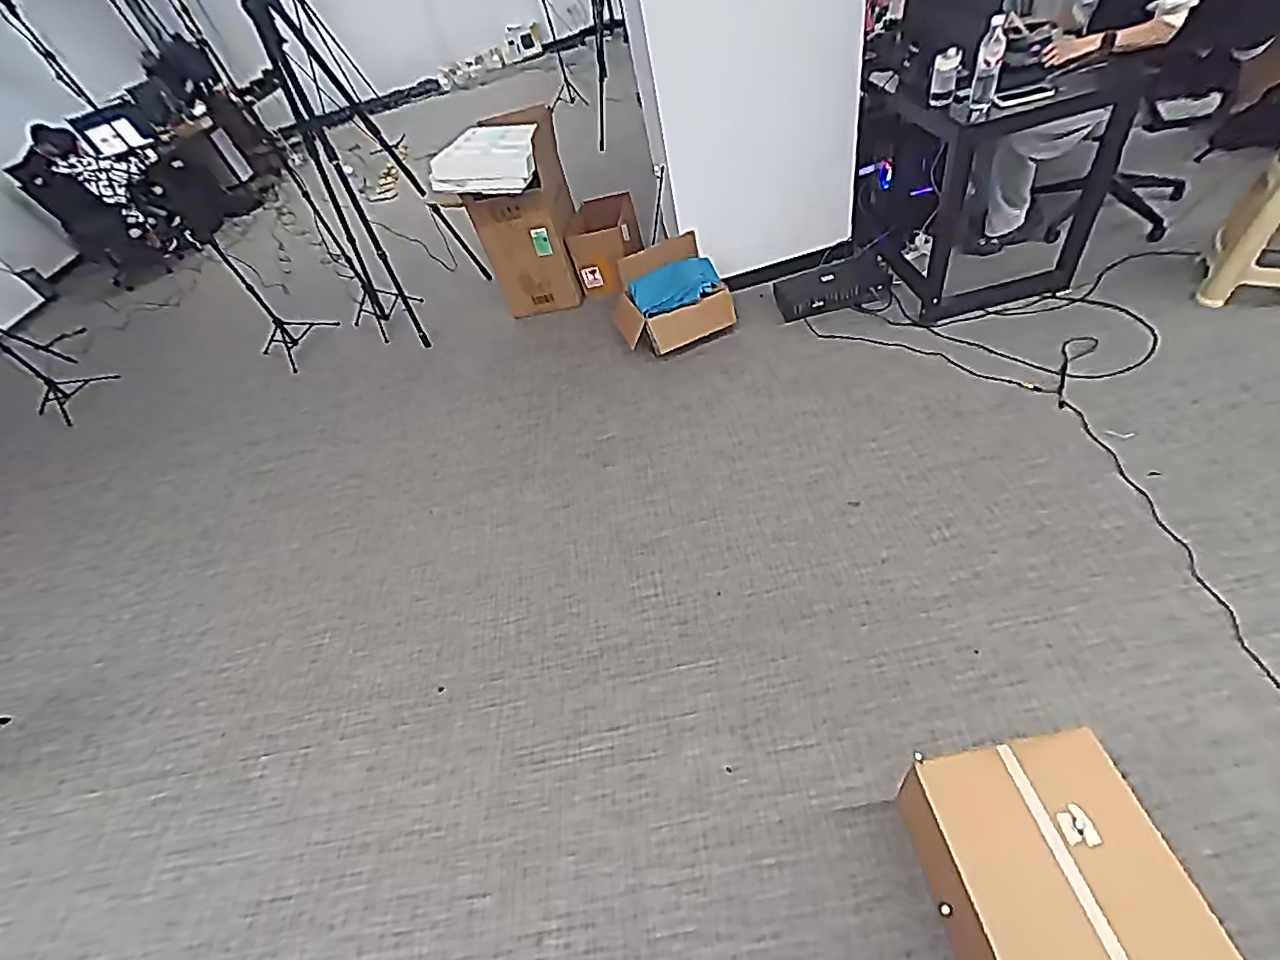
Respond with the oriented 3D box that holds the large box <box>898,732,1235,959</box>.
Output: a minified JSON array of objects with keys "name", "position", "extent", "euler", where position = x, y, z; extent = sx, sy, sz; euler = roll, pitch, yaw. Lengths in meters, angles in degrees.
[{"name":"large box","position":[0.709,0.731,0.956],"extent":[0.320,0.320,0.408],"euler":[-14,45,4]}]
